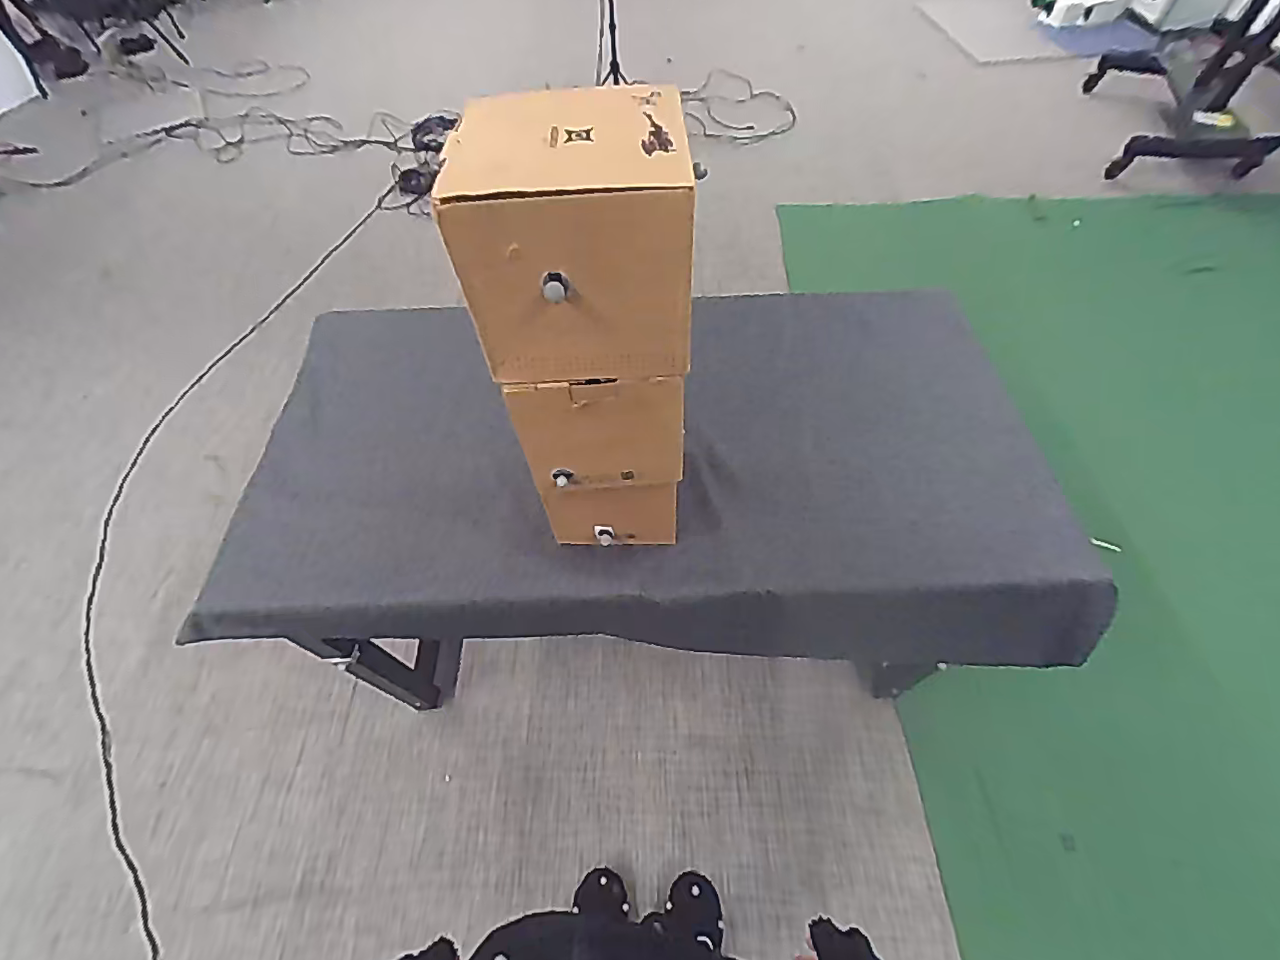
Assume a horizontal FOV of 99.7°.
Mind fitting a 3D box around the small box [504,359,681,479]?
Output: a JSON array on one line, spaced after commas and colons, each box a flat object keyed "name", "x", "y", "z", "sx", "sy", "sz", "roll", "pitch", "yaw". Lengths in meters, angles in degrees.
[{"name": "small box", "x": -0.047, "y": -0.114, "z": 0.605, "sx": 0.168, "sy": 0.176, "sz": 0.179, "roll": -8, "pitch": 56, "yaw": -1}]

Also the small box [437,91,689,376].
[{"name": "small box", "x": -0.052, "y": -0.208, "z": 0.474, "sx": 0.179, "sy": 0.176, "sz": 0.168, "roll": -5, "pitch": 54, "yaw": 0}]

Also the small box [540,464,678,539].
[{"name": "small box", "x": -0.034, "y": -0.033, "z": 0.748, "sx": 0.168, "sy": 0.176, "sz": 0.179, "roll": -2, "pitch": 57, "yaw": 3}]
